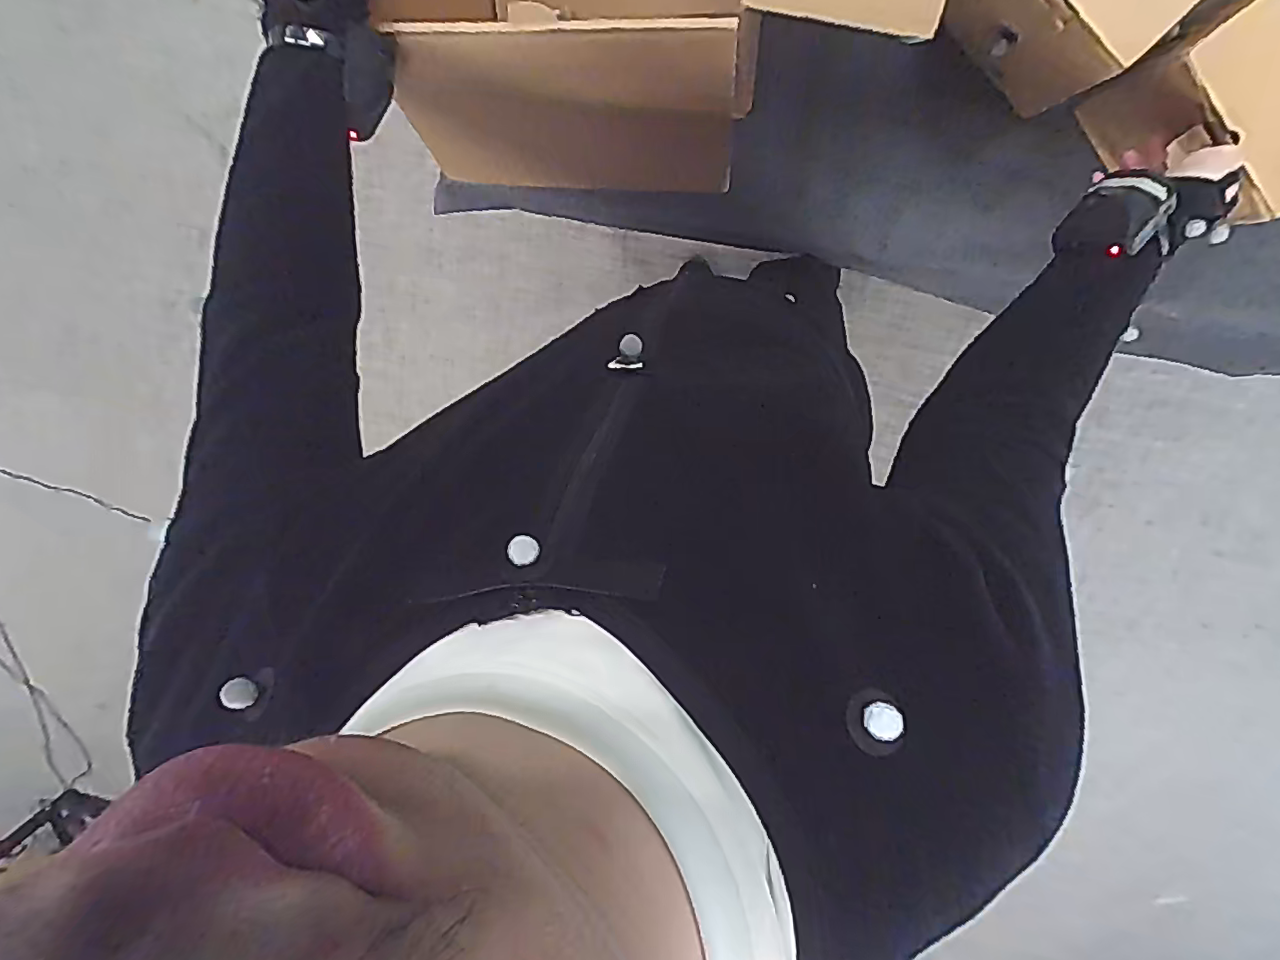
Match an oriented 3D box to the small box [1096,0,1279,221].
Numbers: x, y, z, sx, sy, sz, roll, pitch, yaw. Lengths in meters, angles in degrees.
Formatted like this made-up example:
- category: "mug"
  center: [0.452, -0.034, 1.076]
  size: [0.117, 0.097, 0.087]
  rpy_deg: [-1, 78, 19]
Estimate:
- category: "small box"
  center: [0.570, -0.361, 0.490]
  size: [0.179, 0.176, 0.168]
  rpy_deg: [-38, 101, 22]
